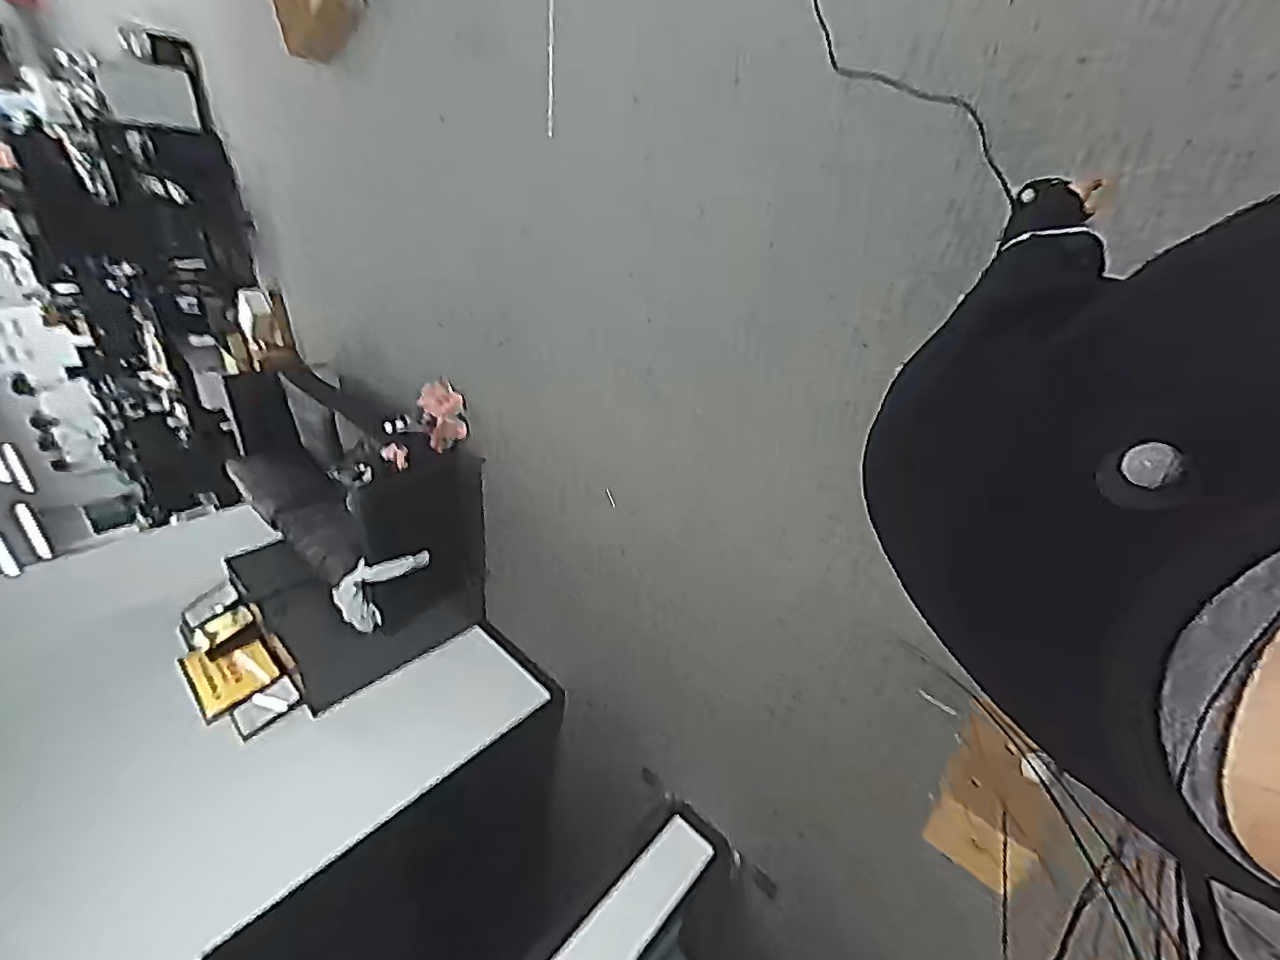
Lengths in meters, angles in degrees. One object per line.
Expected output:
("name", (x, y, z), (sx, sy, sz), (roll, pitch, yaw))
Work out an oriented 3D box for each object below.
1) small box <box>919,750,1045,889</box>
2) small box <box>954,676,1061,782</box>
("small box", (0.767, 0.745, 1.213), (0.179, 0.176, 0.168), (27, 125, 33))
("small box", (0.981, 0.656, 1.444), (0.179, 0.176, 0.168), (27, 125, 33))
